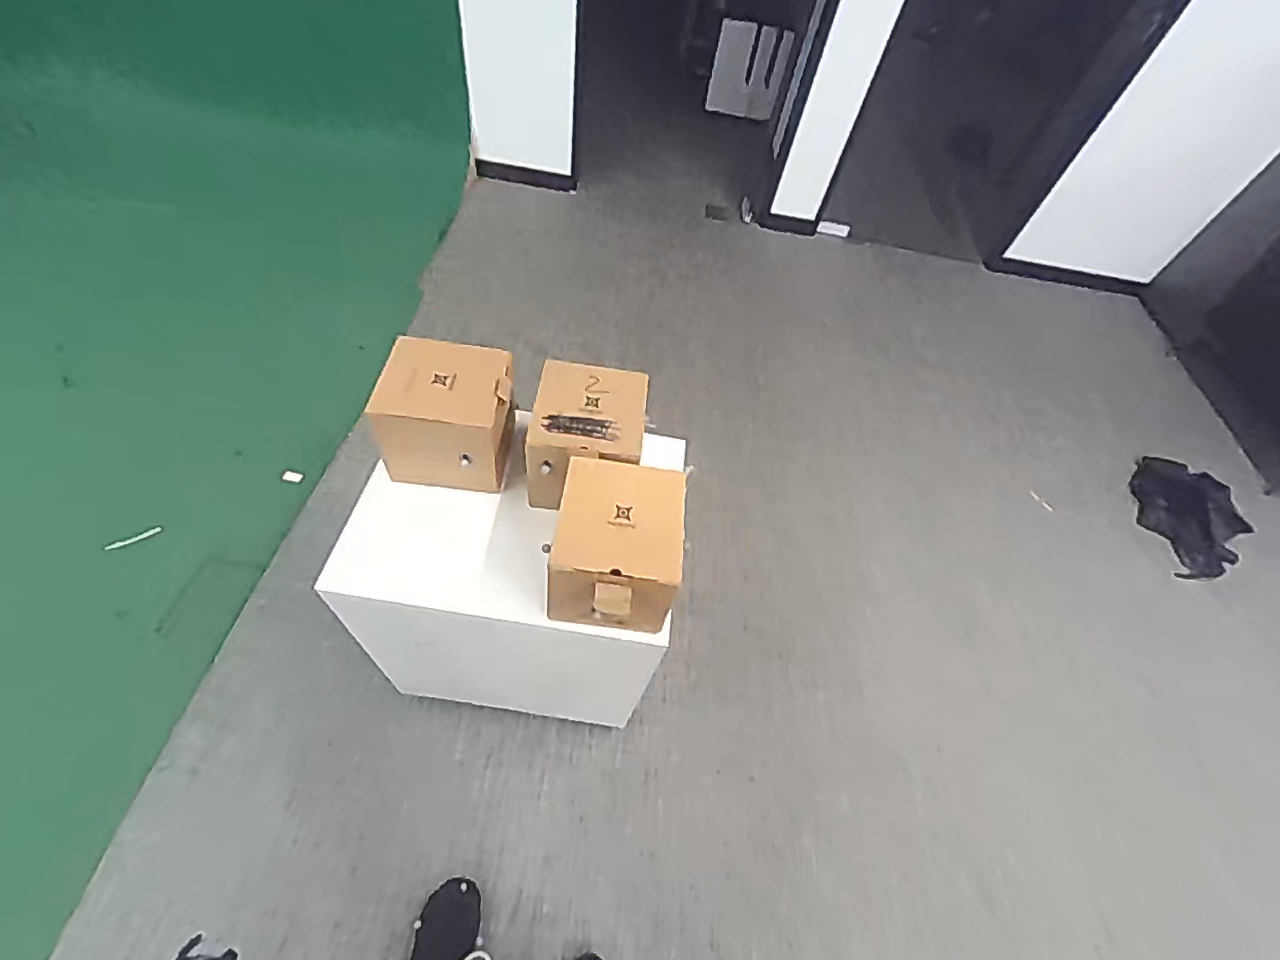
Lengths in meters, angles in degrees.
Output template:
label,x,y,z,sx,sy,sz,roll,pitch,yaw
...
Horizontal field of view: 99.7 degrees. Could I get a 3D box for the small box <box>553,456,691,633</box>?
label,x,y,z,sx,sy,sz,roll,pitch,yaw
small box,-0.028,0.095,0.764,0.168,0.176,0.179,9,53,-4

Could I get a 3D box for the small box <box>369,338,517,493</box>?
label,x,y,z,sx,sy,sz,roll,pitch,yaw
small box,-0.295,-0.096,0.858,0.179,0.176,0.168,6,53,-5
